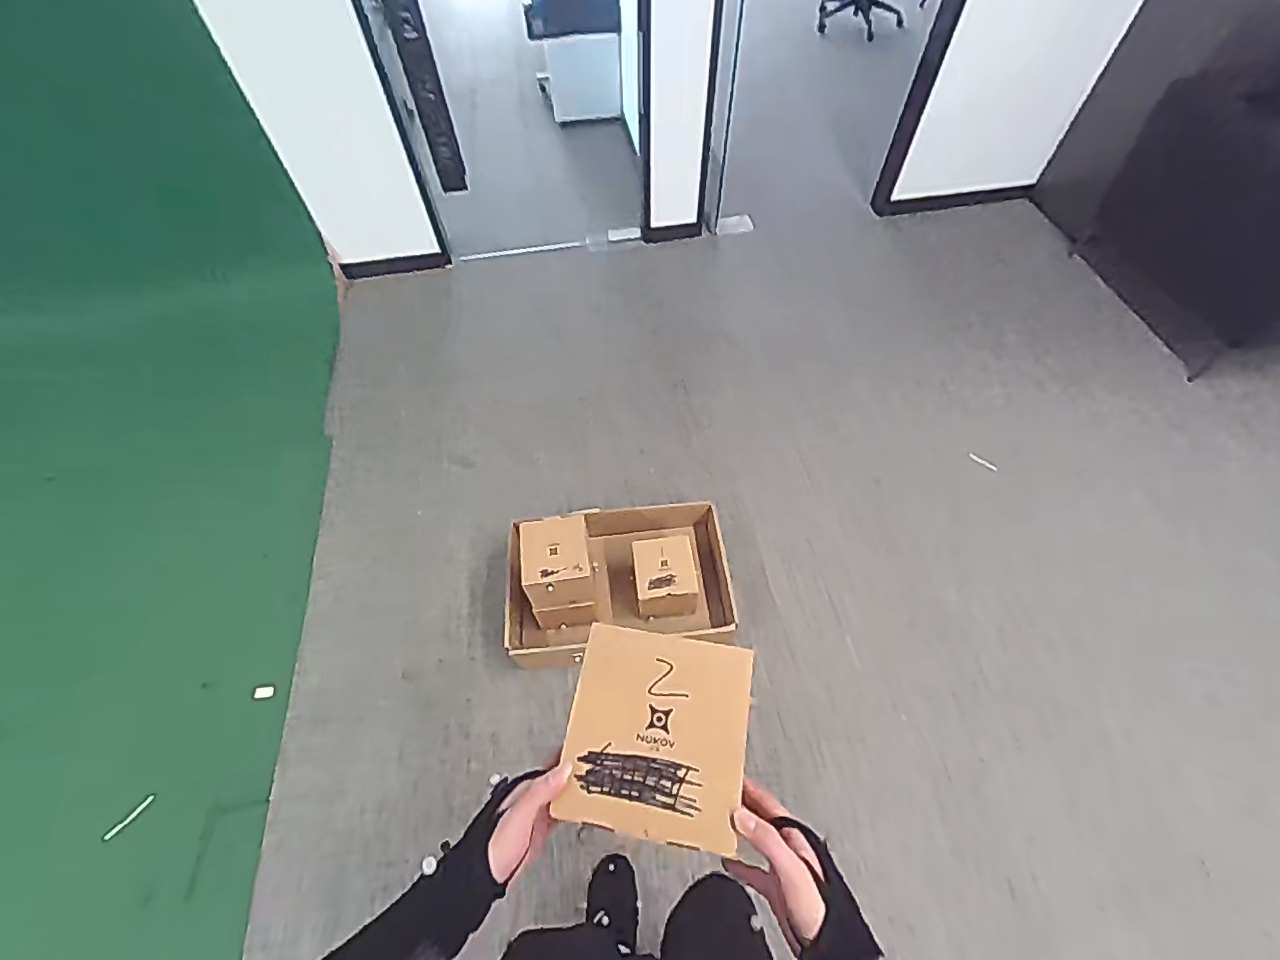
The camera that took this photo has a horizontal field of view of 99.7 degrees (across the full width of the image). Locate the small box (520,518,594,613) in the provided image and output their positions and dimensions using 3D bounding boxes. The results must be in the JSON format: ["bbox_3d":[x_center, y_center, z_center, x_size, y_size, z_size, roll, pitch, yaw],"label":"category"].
[{"bbox_3d":[-0.213,0.222,1.391,0.168,0.176,0.179,-7,55,-4],"label":"small box"}]
